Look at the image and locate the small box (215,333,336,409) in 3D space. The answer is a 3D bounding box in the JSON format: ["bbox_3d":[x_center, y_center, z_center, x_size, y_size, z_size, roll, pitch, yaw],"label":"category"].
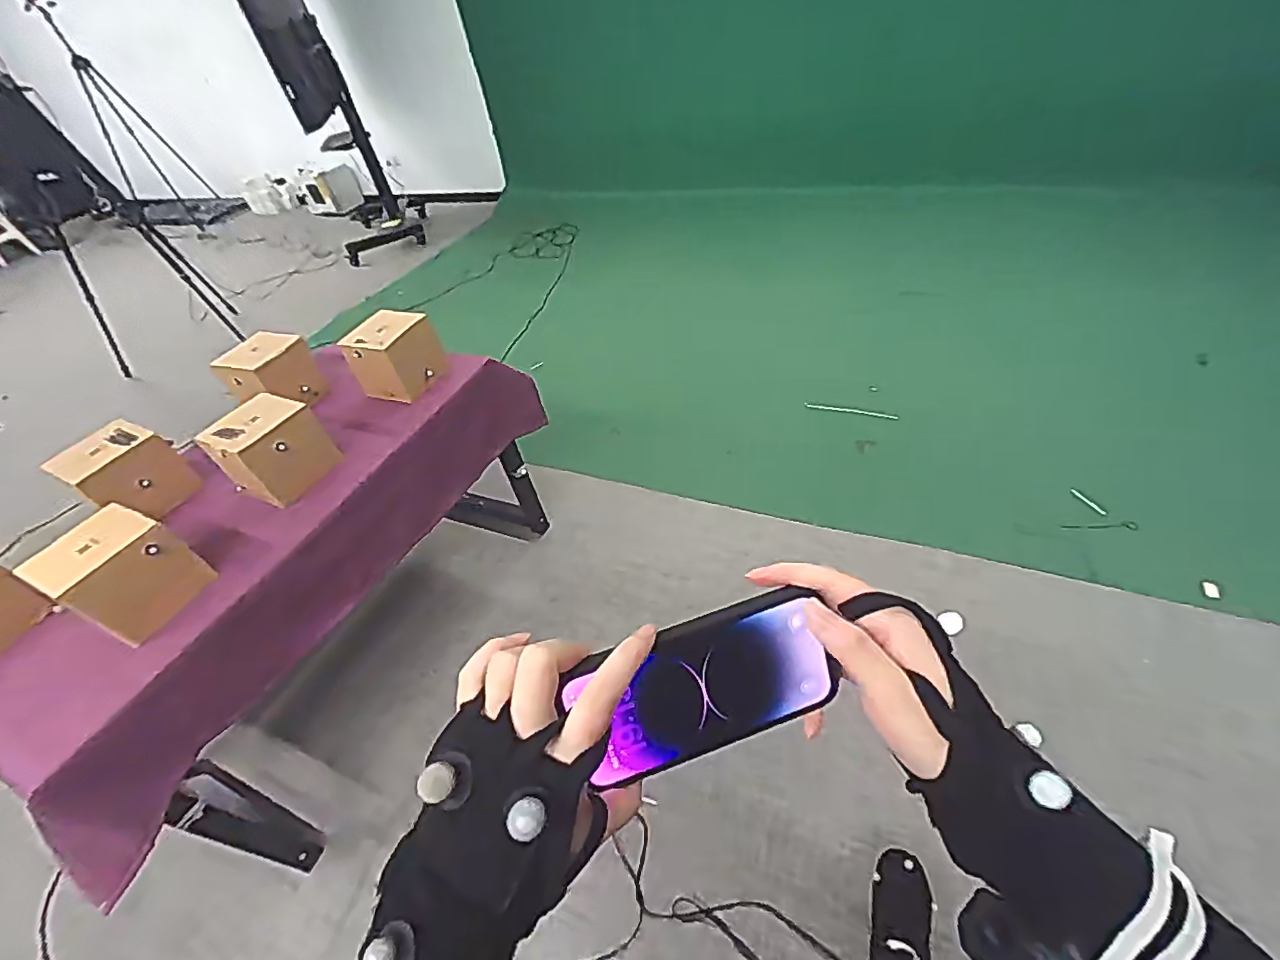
[{"bbox_3d":[-0.987,-0.283,1.476,0.179,0.176,0.168,10,49,21],"label":"small box"}]

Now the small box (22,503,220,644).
[{"bbox_3d":[-0.953,0.175,1.010,0.168,0.176,0.179,13,48,24],"label":"small box"}]

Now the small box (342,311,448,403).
[{"bbox_3d":[-0.646,-0.333,1.456,0.168,0.176,0.179,11,49,22],"label":"small box"}]

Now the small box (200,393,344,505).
[{"bbox_3d":[-0.823,-0.069,1.229,0.168,0.176,0.179,15,49,25],"label":"small box"}]
